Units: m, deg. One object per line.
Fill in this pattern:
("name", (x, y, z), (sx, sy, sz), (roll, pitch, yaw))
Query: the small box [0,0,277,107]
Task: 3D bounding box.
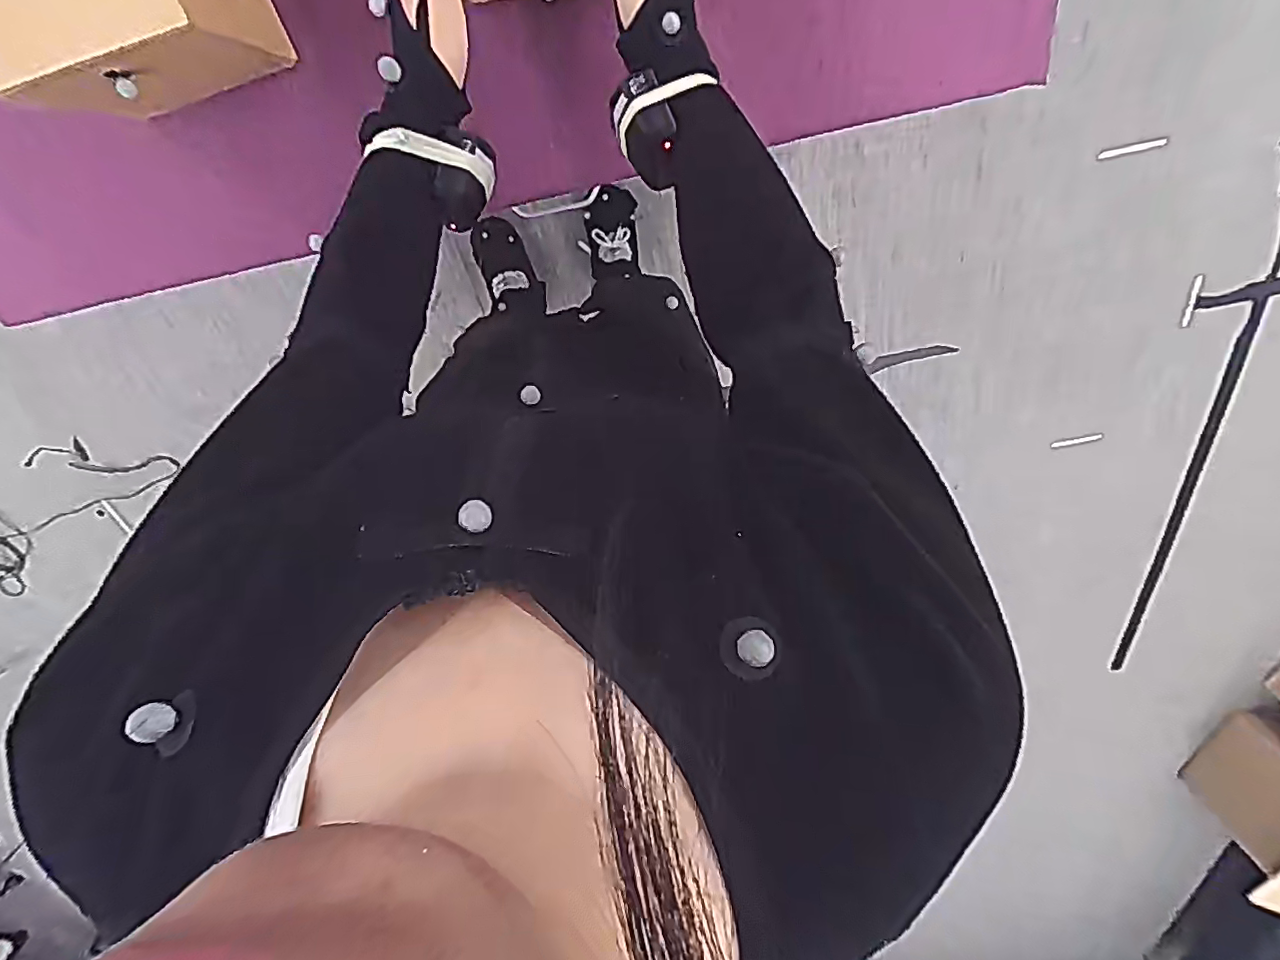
("small box", (-0.431, -0.416, 0.425), (0.179, 0.176, 0.168), (-14, 121, 5))
